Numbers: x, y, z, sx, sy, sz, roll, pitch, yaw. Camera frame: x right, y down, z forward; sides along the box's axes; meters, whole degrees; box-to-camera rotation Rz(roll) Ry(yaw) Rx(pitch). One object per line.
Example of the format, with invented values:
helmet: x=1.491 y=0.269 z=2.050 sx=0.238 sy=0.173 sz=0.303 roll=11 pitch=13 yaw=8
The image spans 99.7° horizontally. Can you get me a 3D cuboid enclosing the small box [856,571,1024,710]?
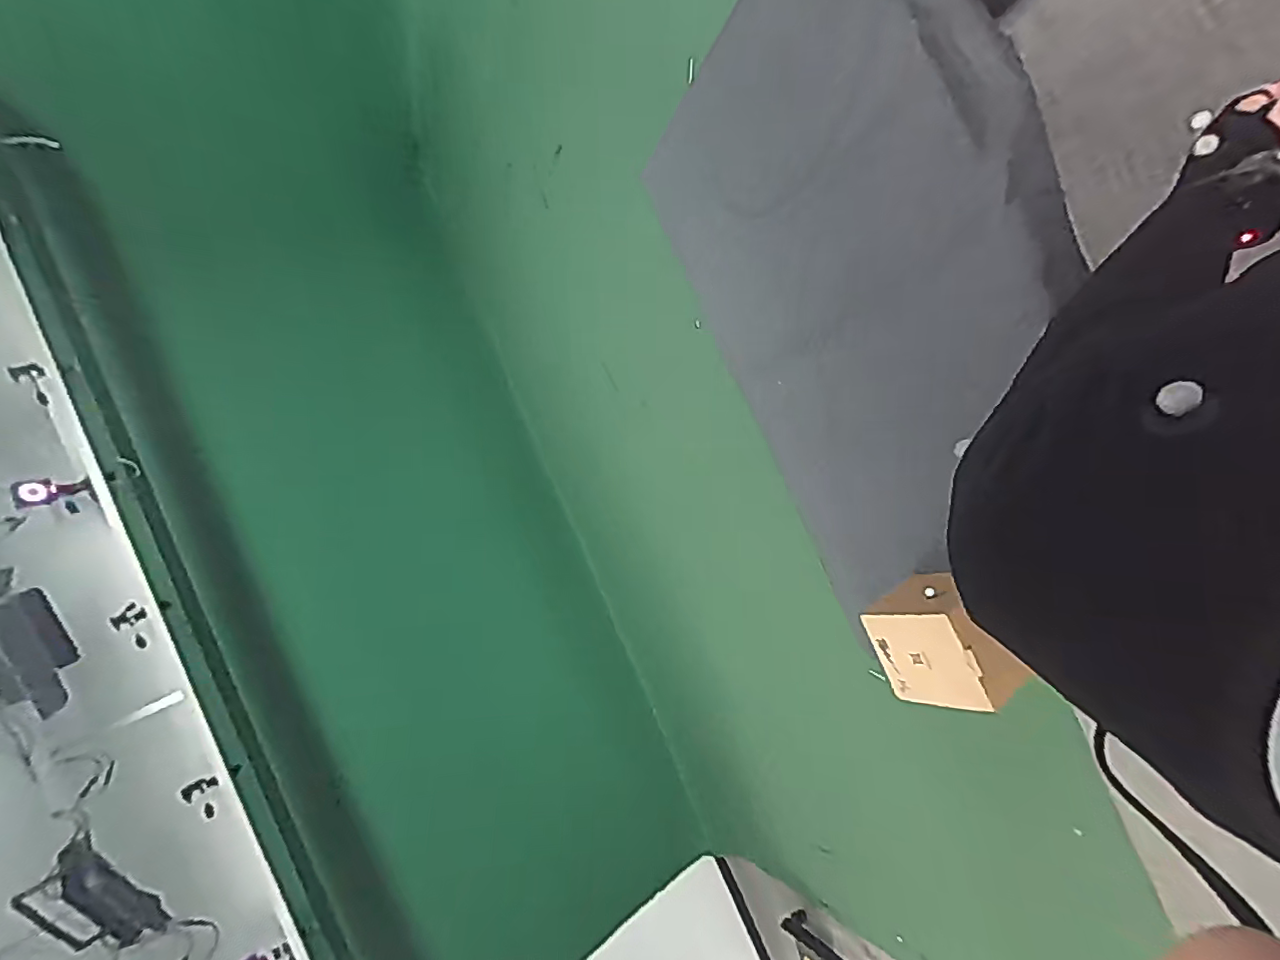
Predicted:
small box: x=0.519 y=0.267 z=0.929 sx=0.179 sy=0.176 sz=0.168 roll=-28 pitch=84 yaw=60
